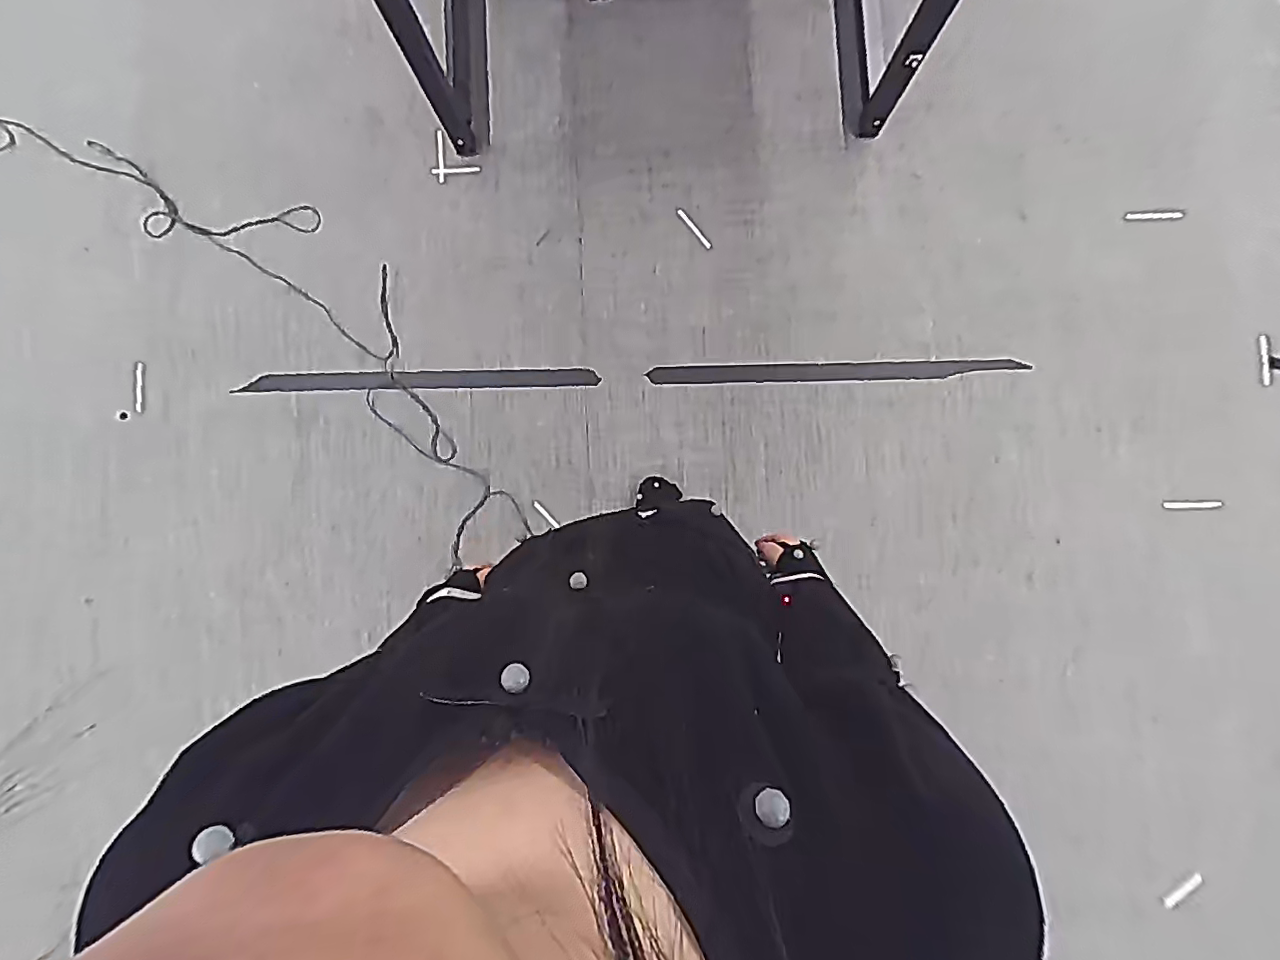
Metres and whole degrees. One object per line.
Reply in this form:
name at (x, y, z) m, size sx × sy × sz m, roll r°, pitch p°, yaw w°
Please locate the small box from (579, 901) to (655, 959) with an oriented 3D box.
small box at (-0.049, 1.182, 1.317) m, size 0.168 × 0.176 × 0.179 m, roll -8°, pitch 88°, yaw -1°
